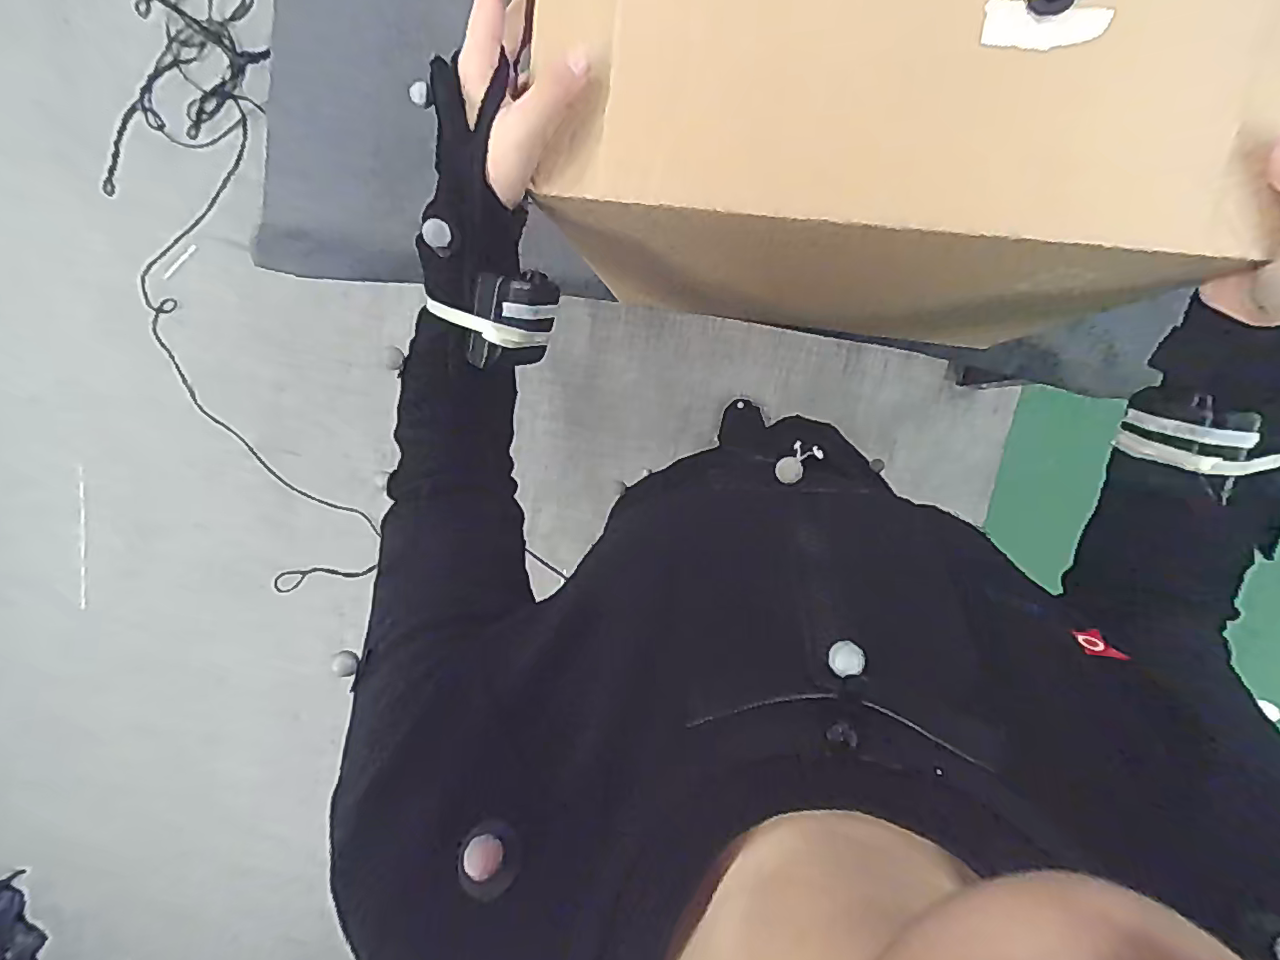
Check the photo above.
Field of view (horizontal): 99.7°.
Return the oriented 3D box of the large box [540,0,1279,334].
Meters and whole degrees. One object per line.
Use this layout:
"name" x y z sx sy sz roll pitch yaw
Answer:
"large box" 0.169 -0.316 0.435 0.408 0.320 0.320 9 98 7
